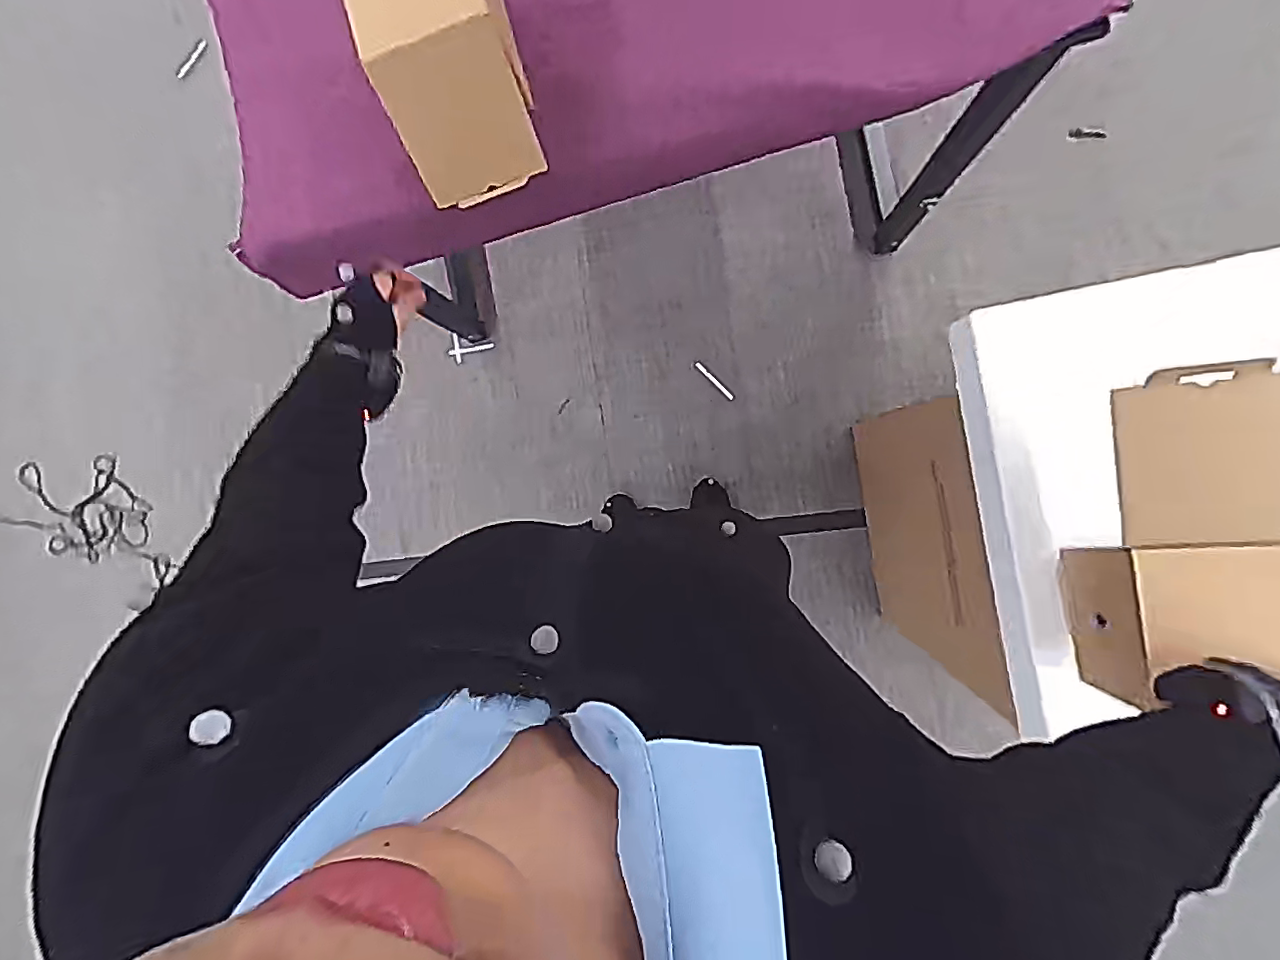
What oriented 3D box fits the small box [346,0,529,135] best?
[{"bbox_3d":[-0.261,-0.594,0.710,0.168,0.176,0.179,-16,87,6],"label":"small box"}]
